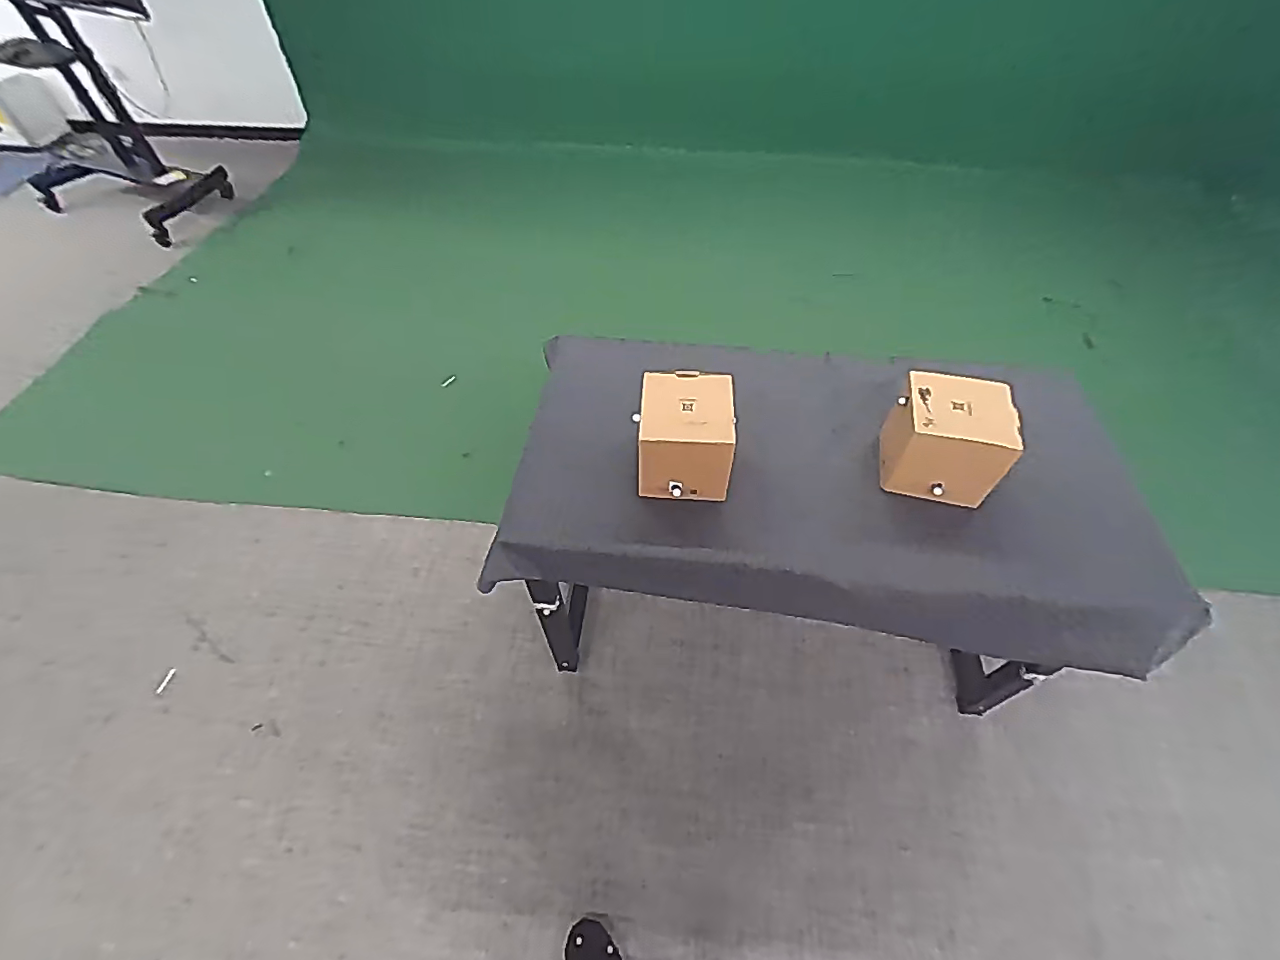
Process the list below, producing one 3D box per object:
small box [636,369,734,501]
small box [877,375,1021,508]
[{"bbox_3d":[0.084,-0.083,1.006,0.168,0.176,0.179,3,52,5],"label":"small box"},{"bbox_3d":[0.567,-0.068,1.015,0.179,0.176,0.168,12,53,8],"label":"small box"}]
